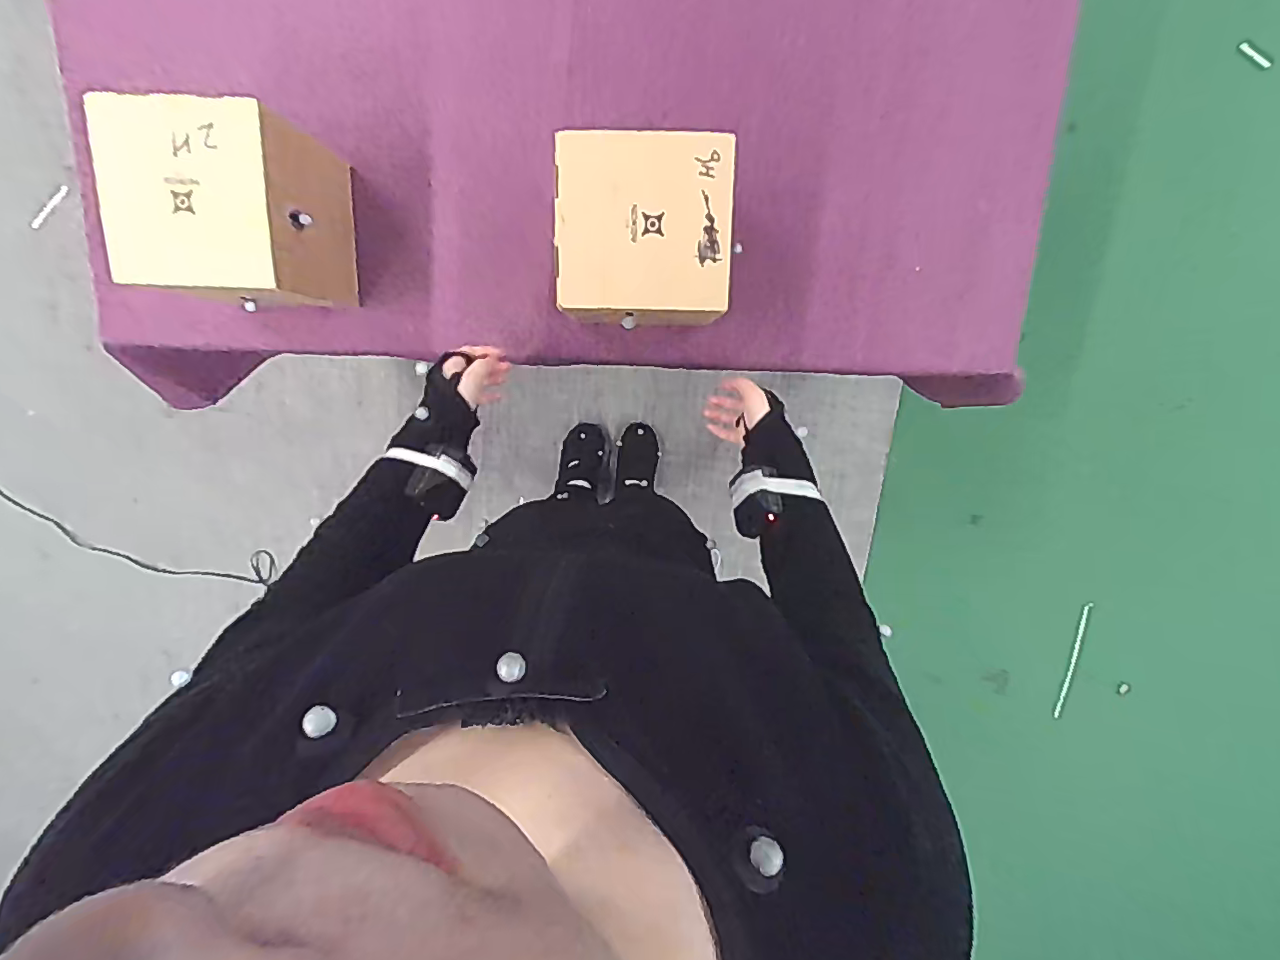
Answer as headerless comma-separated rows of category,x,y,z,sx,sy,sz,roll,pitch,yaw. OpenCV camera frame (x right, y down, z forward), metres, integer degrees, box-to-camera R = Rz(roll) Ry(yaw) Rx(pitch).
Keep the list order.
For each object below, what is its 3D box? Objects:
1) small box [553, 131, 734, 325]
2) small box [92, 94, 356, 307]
small box,0.004,-0.267,0.611,0.179,0.176,0.168,2,101,1
small box,-0.442,-0.295,0.609,0.168,0.176,0.179,2,101,-1
